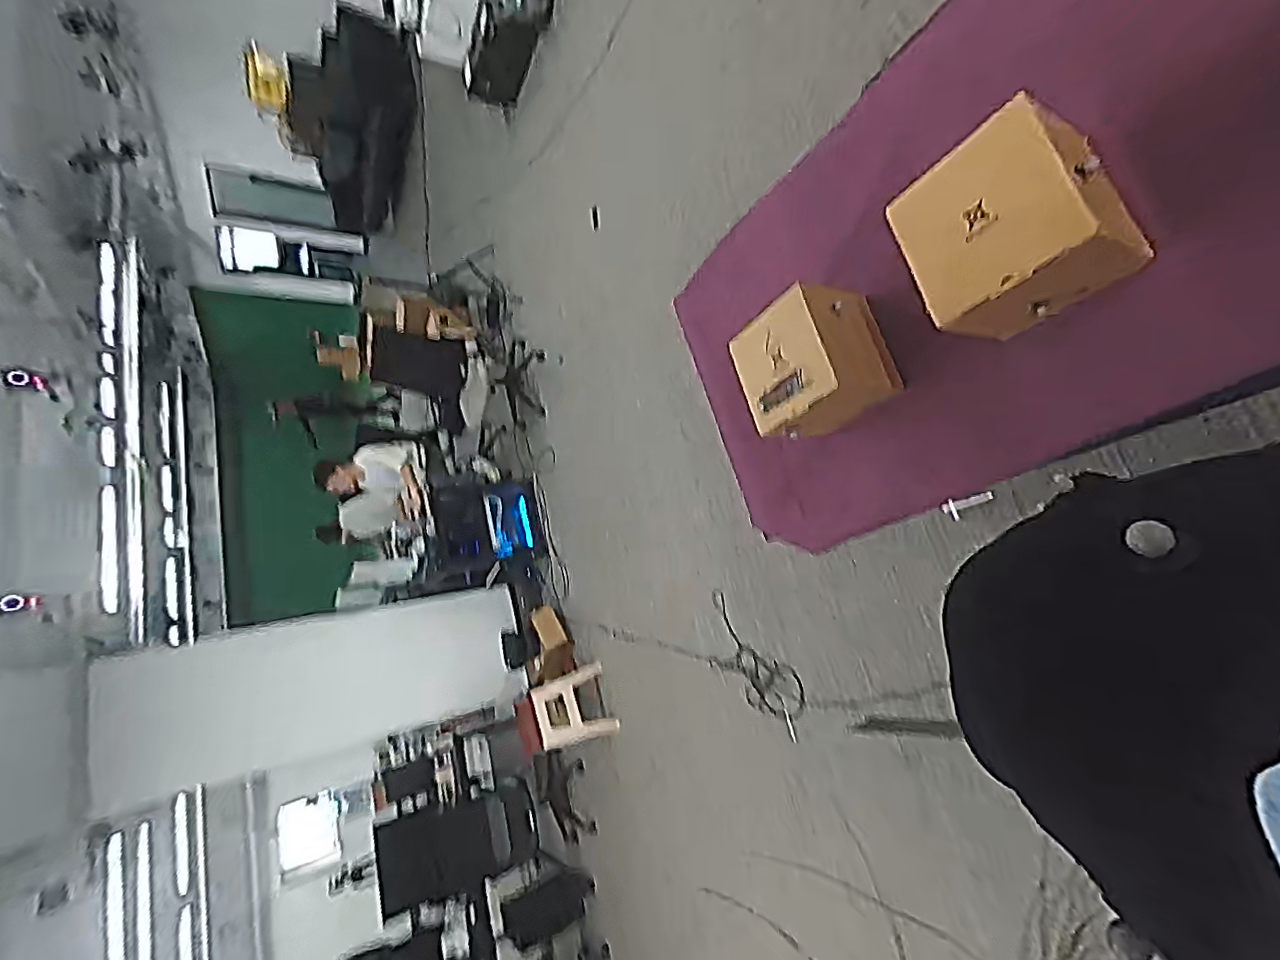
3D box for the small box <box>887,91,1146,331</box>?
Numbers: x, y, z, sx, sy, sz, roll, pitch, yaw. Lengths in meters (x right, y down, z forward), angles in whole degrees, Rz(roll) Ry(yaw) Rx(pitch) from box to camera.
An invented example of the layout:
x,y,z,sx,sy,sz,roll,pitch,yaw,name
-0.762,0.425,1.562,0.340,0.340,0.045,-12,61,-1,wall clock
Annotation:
x,y,z,sx,sy,sz,roll,pitch,yaw,name
0.435,-0.295,0.634,0.168,0.176,0.179,-35,66,53,small box
